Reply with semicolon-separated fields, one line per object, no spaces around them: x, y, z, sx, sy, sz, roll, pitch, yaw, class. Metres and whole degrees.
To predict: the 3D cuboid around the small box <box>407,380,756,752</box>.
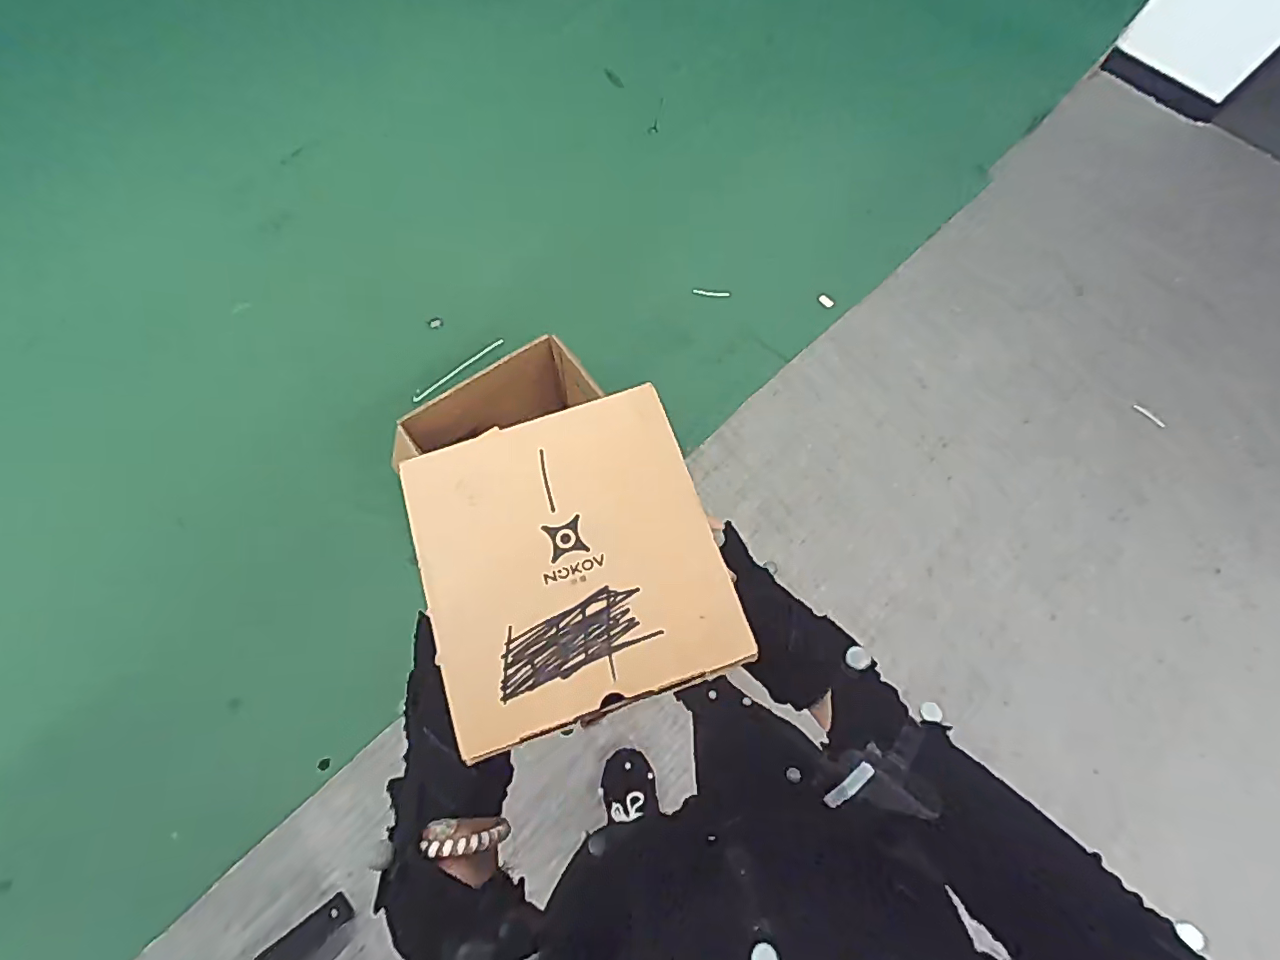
-0.036;0.062;0.385;0.168;0.176;0.179;-18;73;-5;small box
